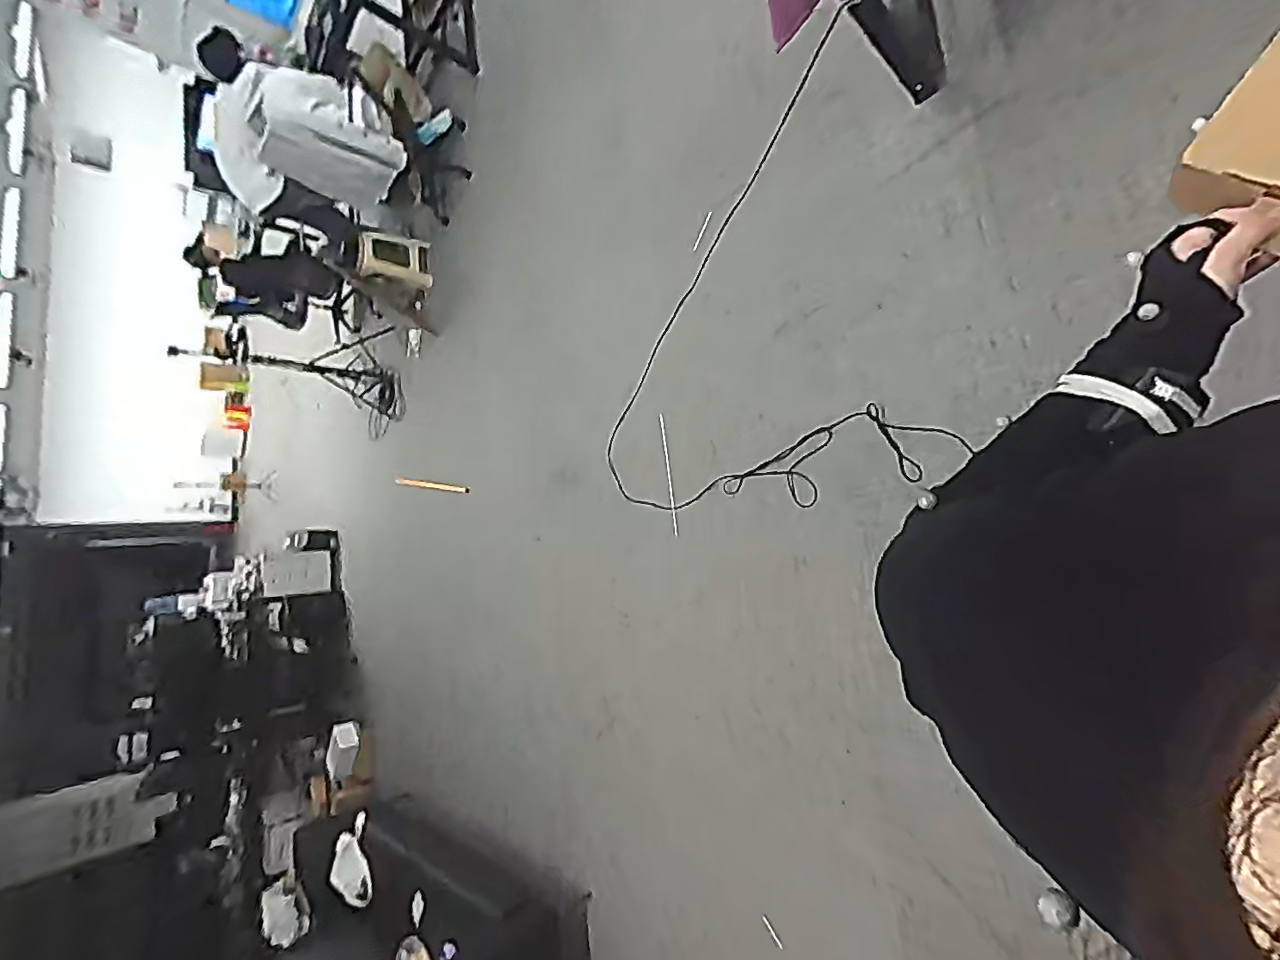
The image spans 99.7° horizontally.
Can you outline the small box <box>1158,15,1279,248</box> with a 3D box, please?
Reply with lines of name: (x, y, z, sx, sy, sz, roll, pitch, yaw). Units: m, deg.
small box: (0.558, -0.284, 0.416, 0.168, 0.176, 0.179, 41, 124, 27)
